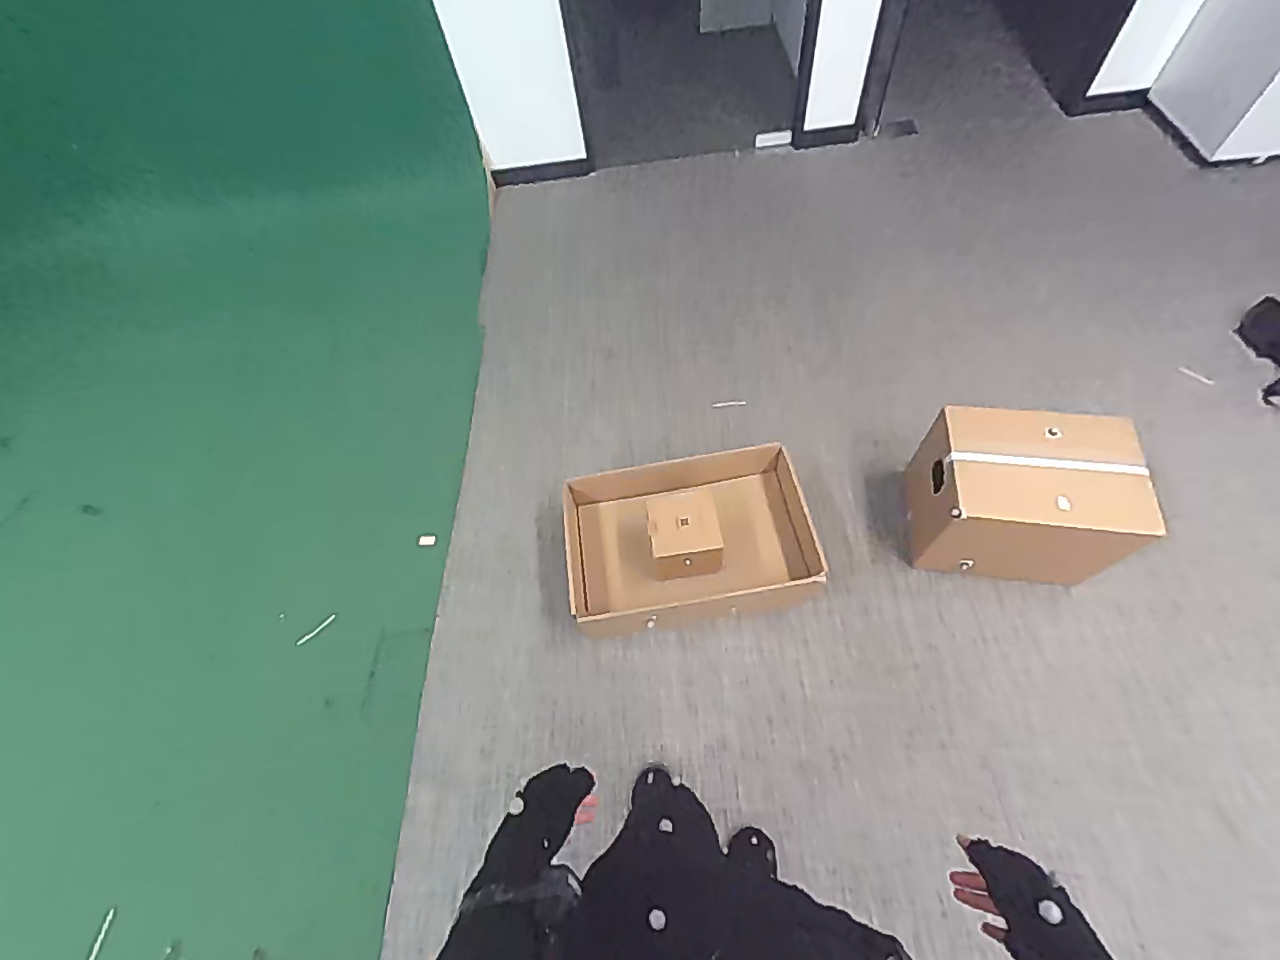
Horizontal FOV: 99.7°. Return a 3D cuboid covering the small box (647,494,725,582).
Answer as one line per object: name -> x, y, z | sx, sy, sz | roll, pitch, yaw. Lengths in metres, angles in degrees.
small box -> 0.119, 0.158, 1.418 | 0.179, 0.176, 0.168 | -8, 59, 0
